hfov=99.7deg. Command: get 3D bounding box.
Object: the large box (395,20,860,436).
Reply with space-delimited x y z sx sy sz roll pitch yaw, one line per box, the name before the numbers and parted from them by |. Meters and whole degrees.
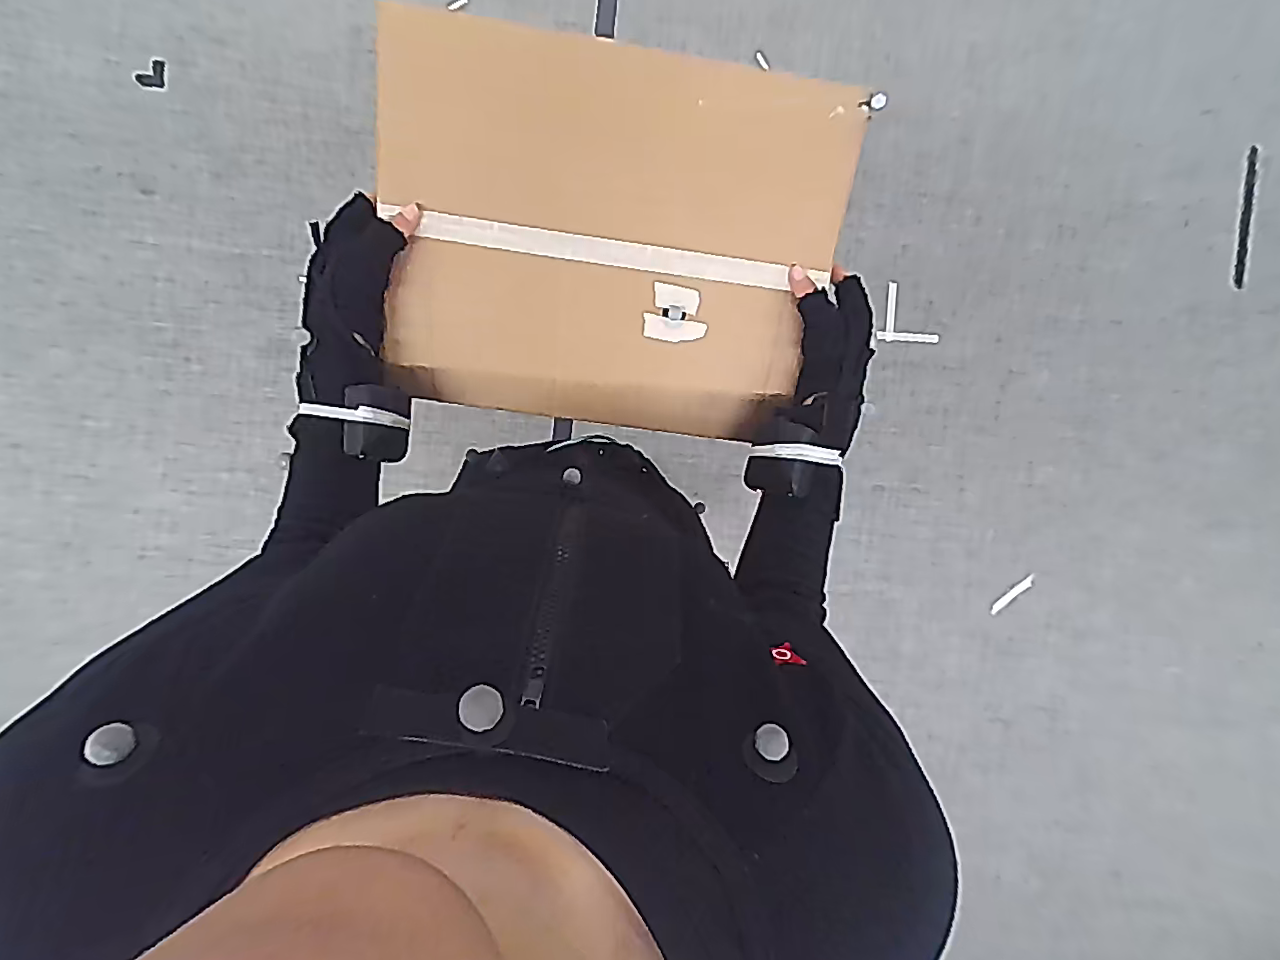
large box | -0.030 -0.257 0.641 0.408 0.320 0.320 7 109 -5
